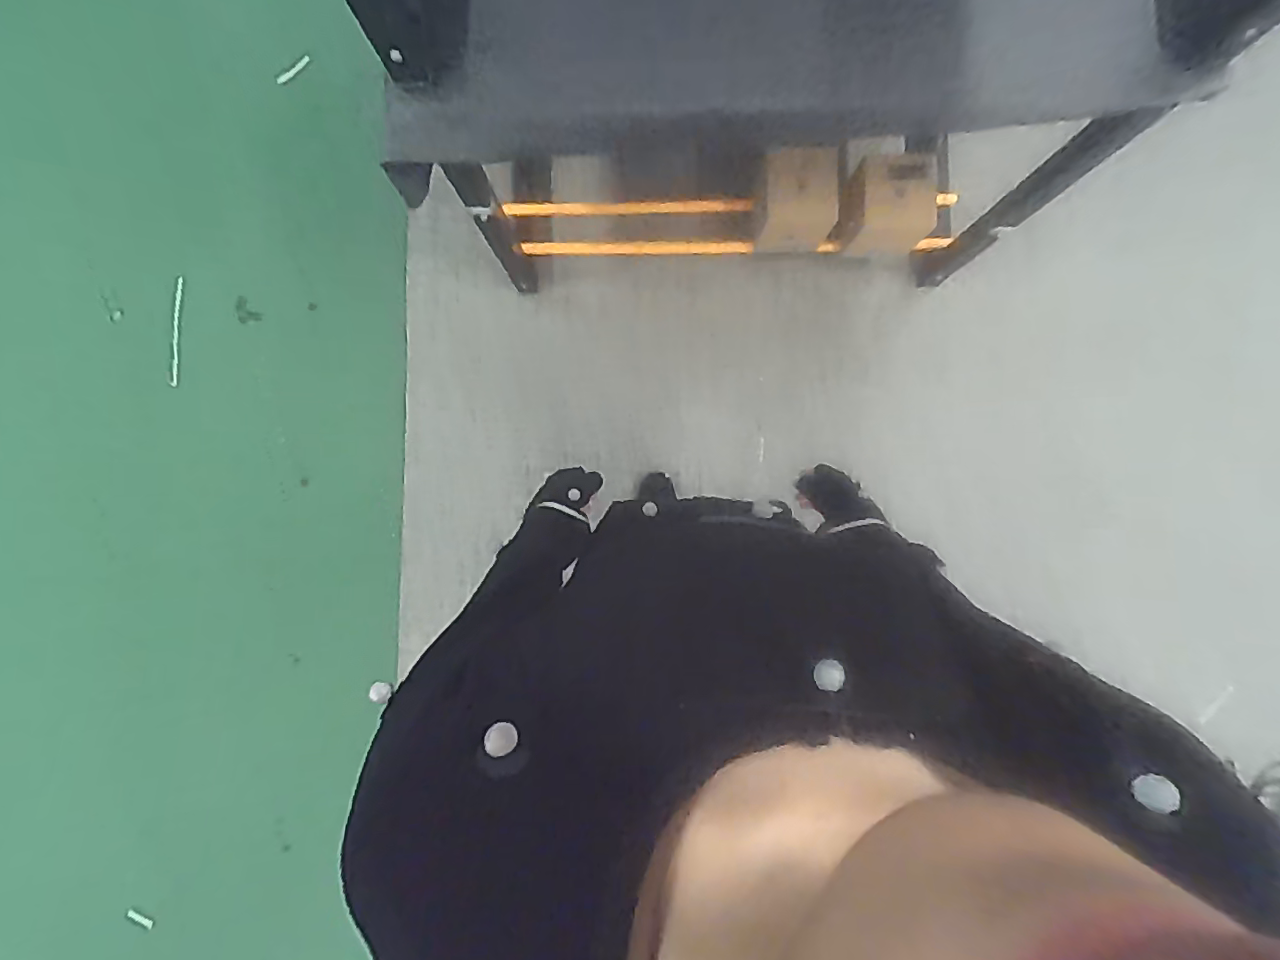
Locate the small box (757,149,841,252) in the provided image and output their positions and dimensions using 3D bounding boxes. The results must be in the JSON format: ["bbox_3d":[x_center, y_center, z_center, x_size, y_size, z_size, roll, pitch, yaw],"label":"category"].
[{"bbox_3d":[0.385,-0.676,1.328,0.168,0.176,0.179,-1,88,2],"label":"small box"}]
